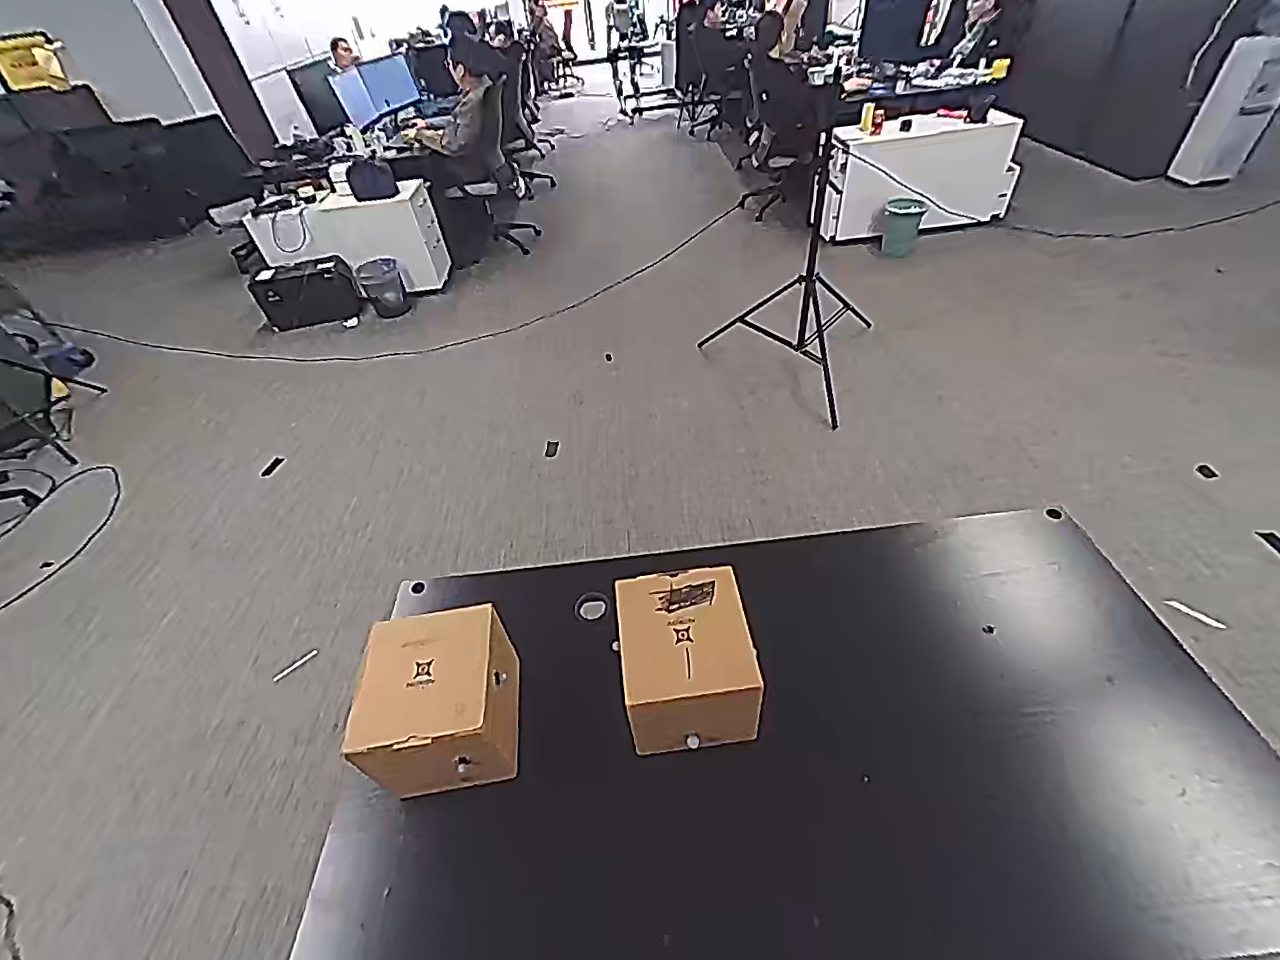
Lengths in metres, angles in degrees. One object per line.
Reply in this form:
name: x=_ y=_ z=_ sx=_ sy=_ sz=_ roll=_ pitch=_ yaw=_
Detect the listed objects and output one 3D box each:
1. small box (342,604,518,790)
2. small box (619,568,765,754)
small box: x=-0.265 y=0.297 z=0.731 sx=0.168 sy=0.176 sz=0.179 roll=-8 pitch=43 yaw=-3
small box: x=0.064 y=0.247 z=0.739 sx=0.168 sy=0.176 sz=0.179 roll=-8 pitch=45 yaw=0
